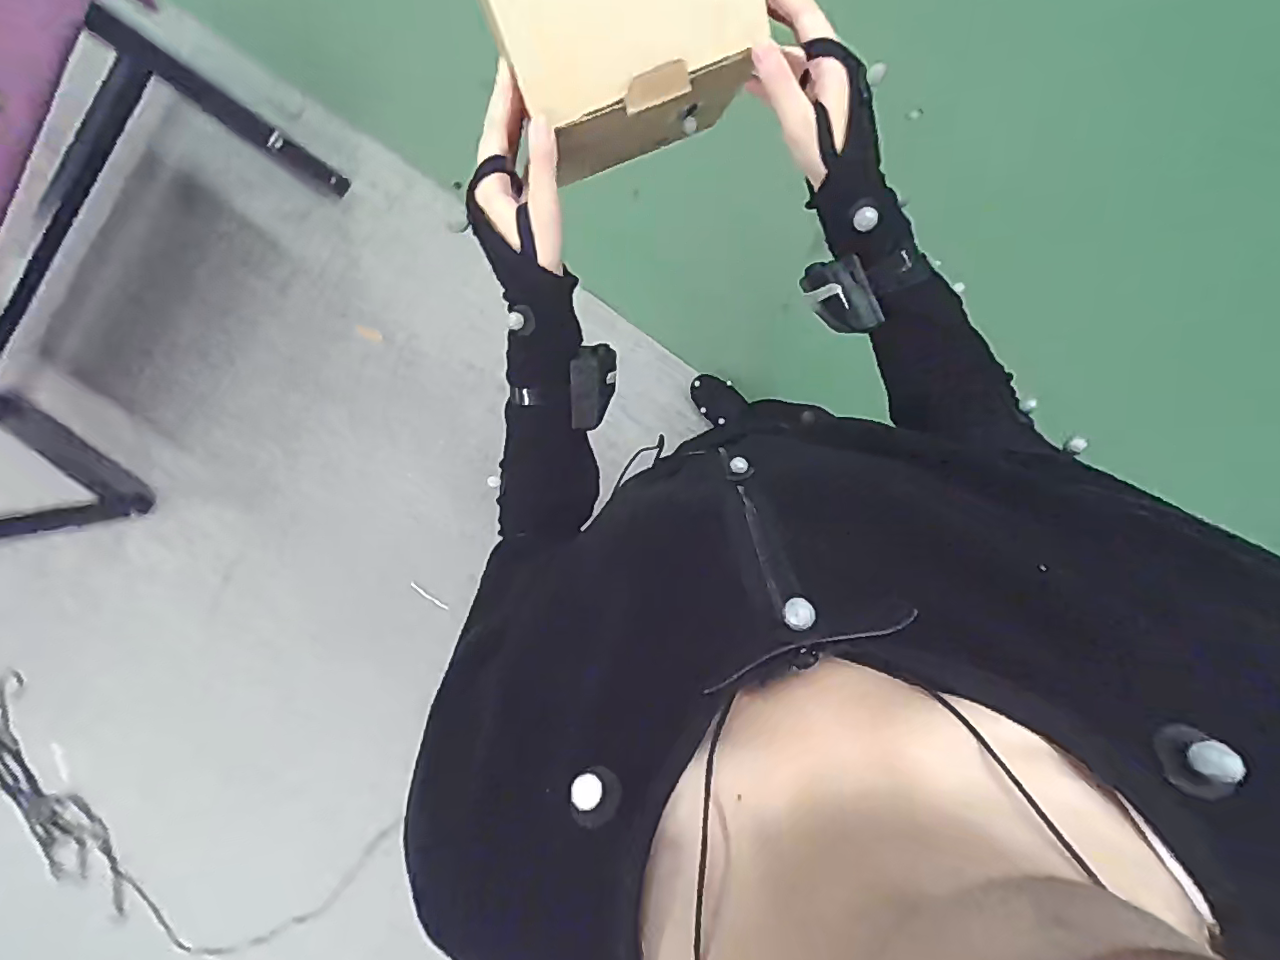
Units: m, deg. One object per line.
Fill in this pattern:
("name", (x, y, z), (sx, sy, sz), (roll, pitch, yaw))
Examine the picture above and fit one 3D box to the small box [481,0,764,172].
("small box", (-0.029, -0.353, 0.400), (0.168, 0.176, 0.179), (-21, 108, 1))
